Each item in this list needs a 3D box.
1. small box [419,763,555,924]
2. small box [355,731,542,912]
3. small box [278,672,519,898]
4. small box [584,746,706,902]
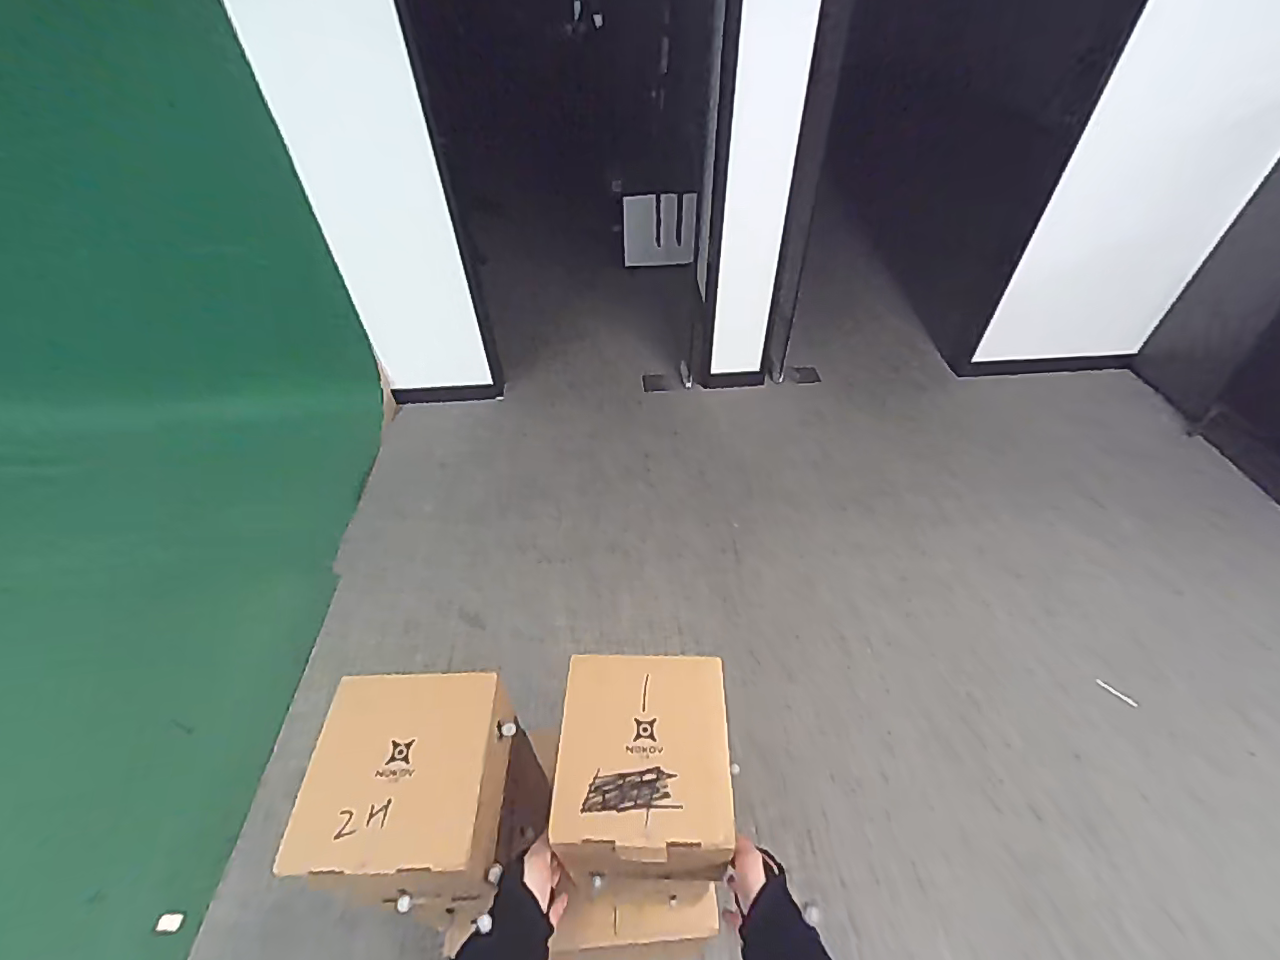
[{"bbox_3d":[-0.223,0.548,0.816,0.168,0.176,0.179,-2,47,-1],"label":"small box"},{"bbox_3d":[-0.225,0.439,0.693,0.168,0.176,0.179,-1,47,-1],"label":"small box"},{"bbox_3d":[-0.230,0.324,0.575,0.168,0.176,0.179,-1,47,0],"label":"small box"},{"bbox_3d":[0.013,0.527,0.827,0.168,0.176,0.179,-1,45,2],"label":"small box"}]
